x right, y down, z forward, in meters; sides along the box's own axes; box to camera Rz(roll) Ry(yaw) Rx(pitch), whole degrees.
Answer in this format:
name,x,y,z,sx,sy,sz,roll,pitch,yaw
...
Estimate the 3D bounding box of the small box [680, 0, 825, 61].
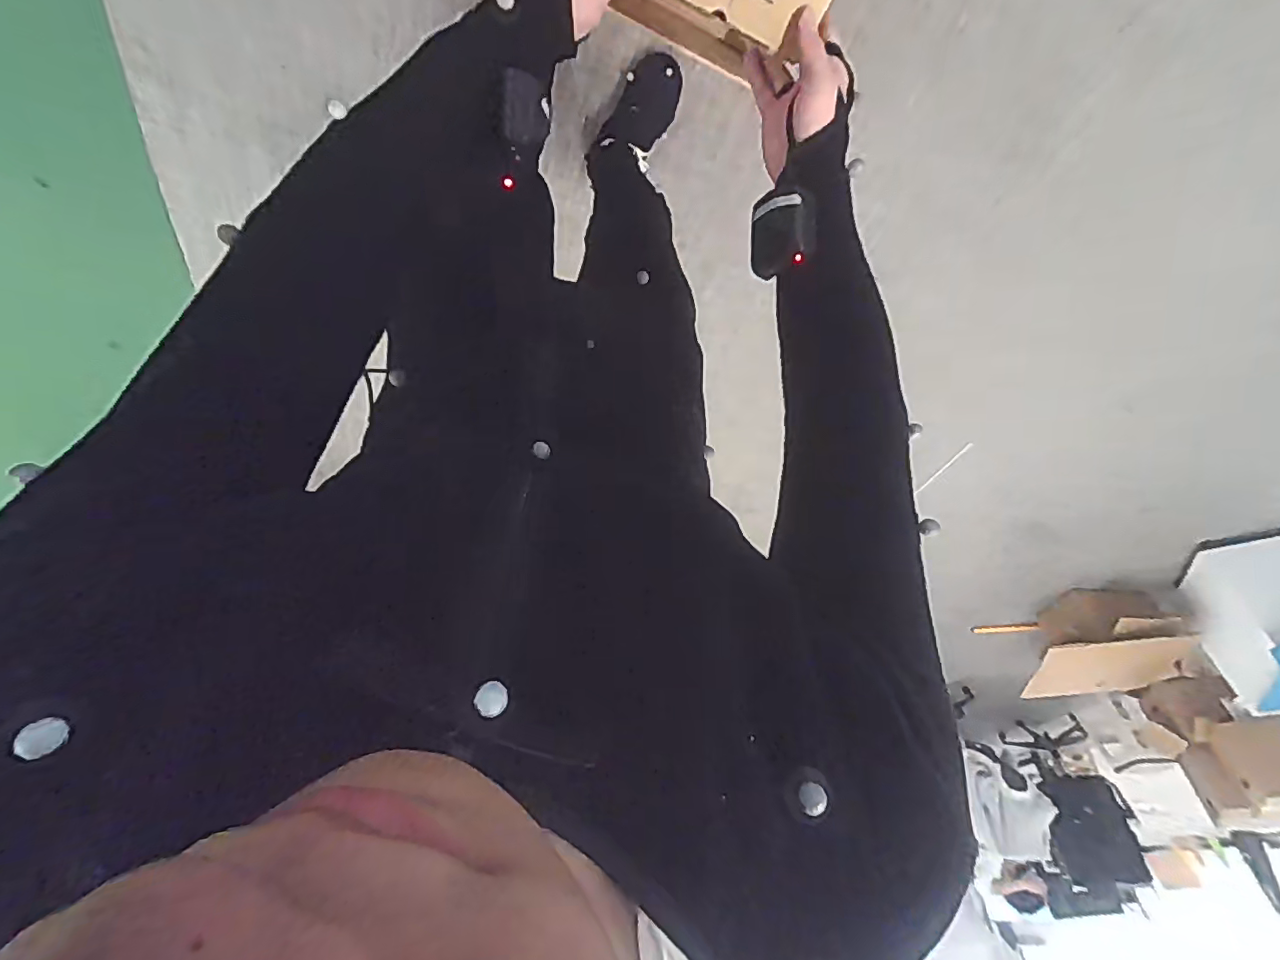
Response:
name,x,y,z,sx,sy,sz,roll,pitch,yaw
small box,0.096,-0.506,0.449,0.168,0.176,0.179,14,139,-19
